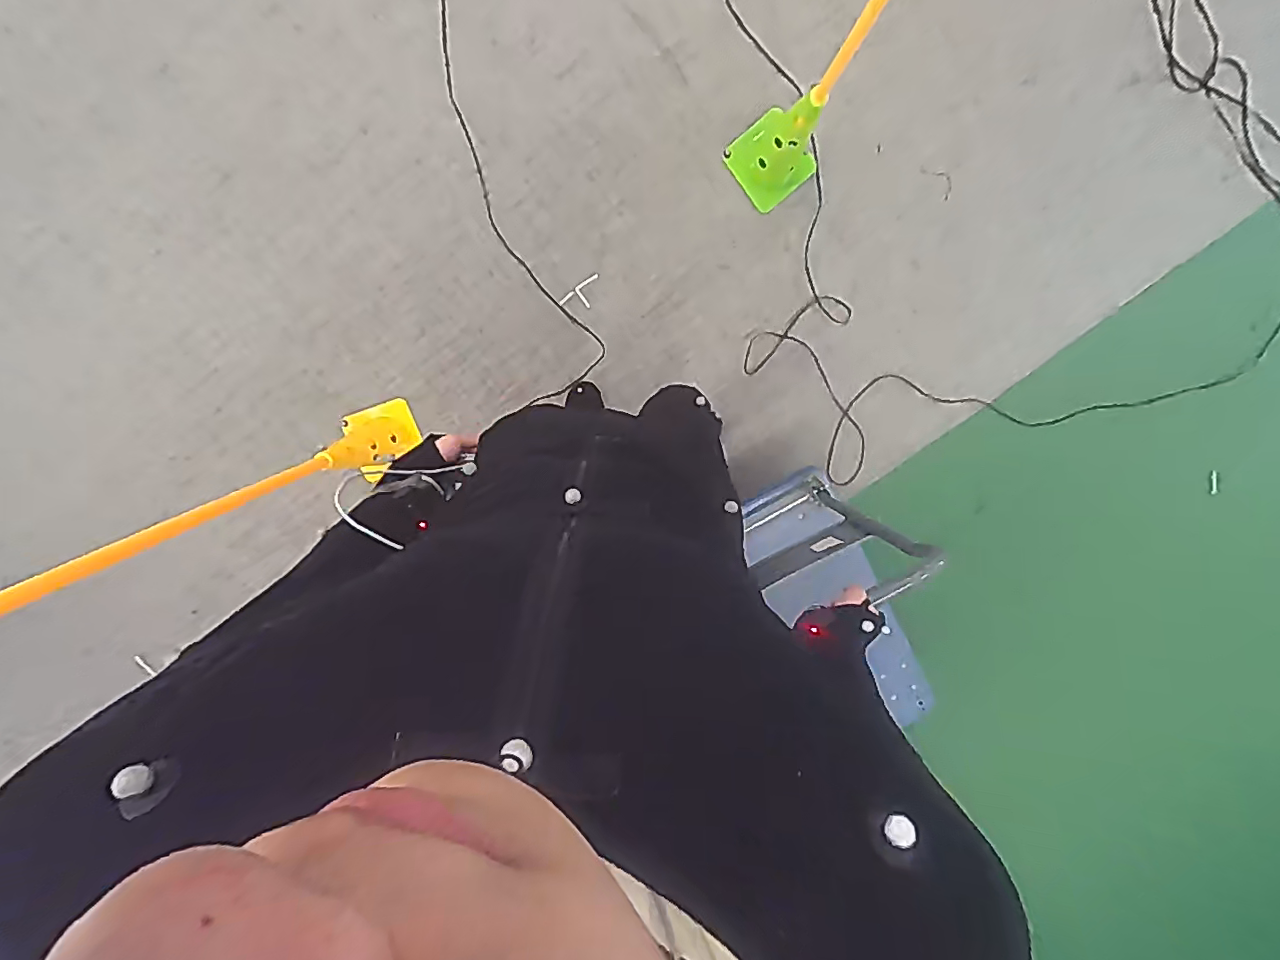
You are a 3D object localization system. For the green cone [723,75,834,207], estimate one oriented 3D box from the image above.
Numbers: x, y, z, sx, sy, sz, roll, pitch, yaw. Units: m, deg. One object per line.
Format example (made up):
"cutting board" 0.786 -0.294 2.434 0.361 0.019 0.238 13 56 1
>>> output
"green cone" 0.362 -0.839 1.284 0.202 0.368 0.200 -41 102 3
